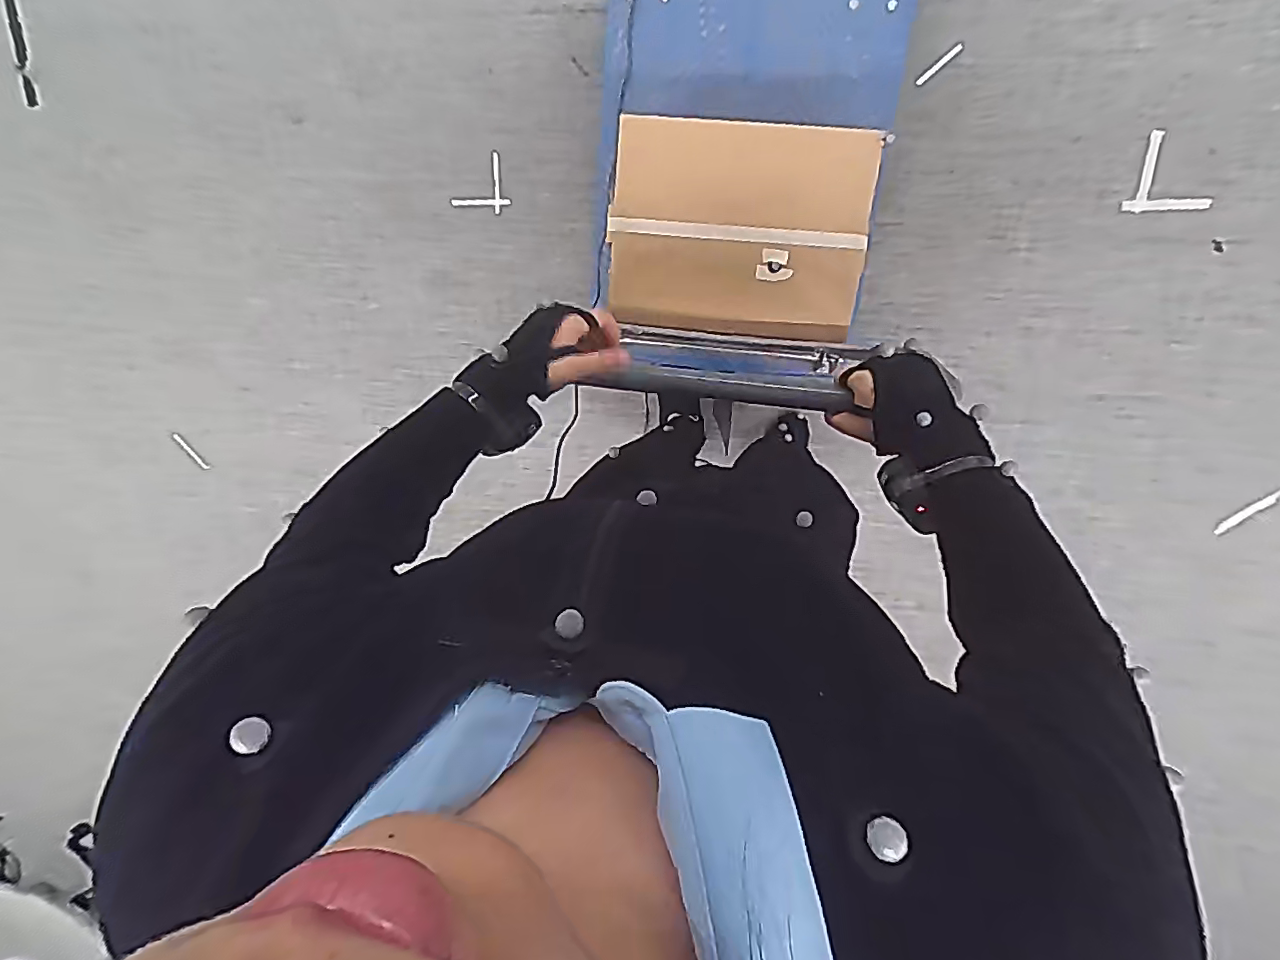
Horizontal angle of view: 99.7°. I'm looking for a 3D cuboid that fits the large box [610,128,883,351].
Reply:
[{"bbox_3d":[0.167,-0.416,1.001,0.408,0.320,0.320,6,107,4],"label":"large box"}]
